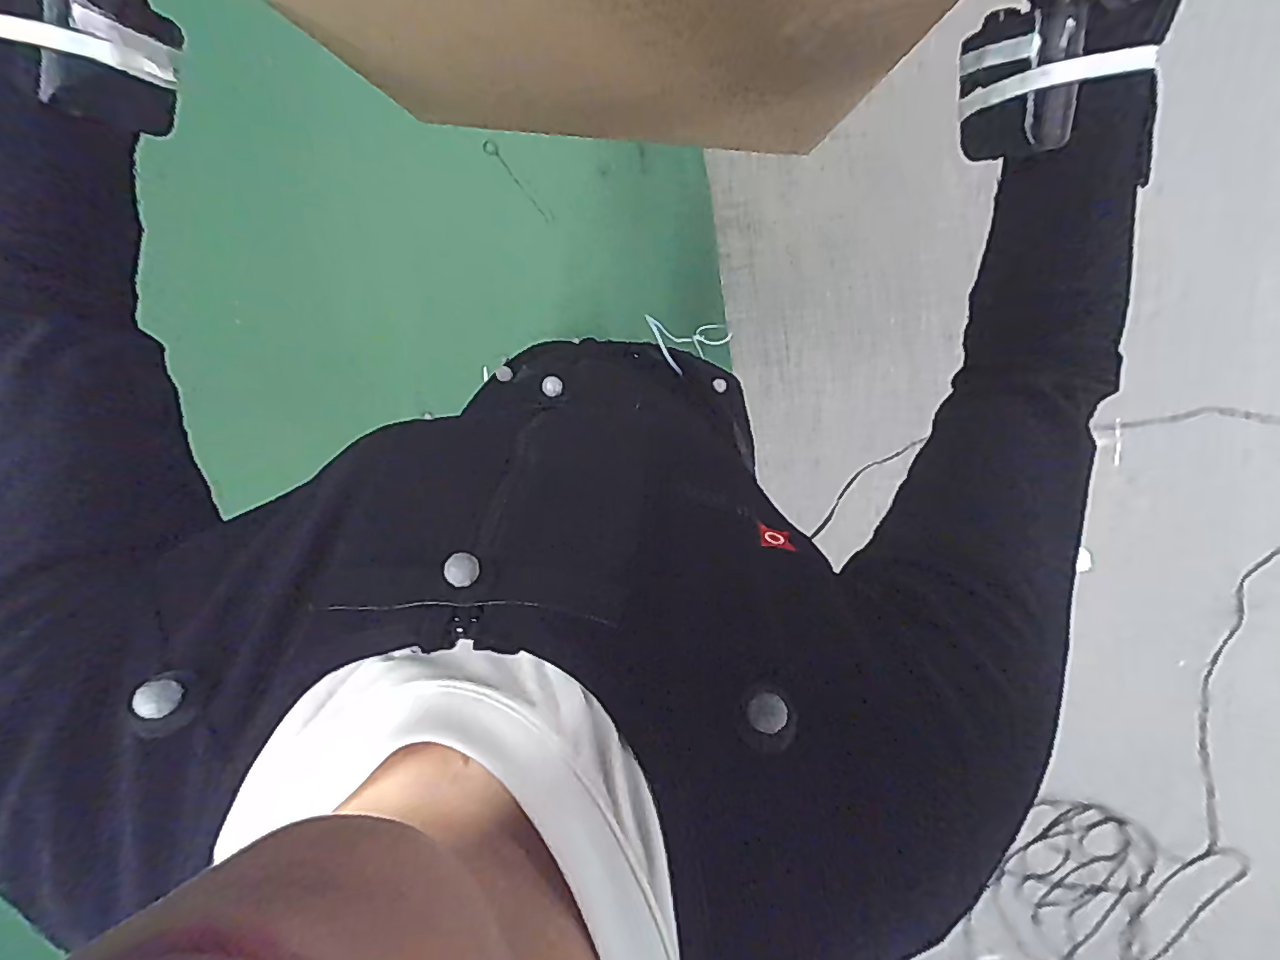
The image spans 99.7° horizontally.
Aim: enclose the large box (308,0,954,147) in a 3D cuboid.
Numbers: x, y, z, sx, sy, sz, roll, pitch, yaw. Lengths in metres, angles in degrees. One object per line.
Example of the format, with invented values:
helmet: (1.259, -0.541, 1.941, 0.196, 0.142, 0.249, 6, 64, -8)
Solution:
large box: (-0.009, -0.456, 0.369, 0.408, 0.320, 0.320, 5, 108, -1)
